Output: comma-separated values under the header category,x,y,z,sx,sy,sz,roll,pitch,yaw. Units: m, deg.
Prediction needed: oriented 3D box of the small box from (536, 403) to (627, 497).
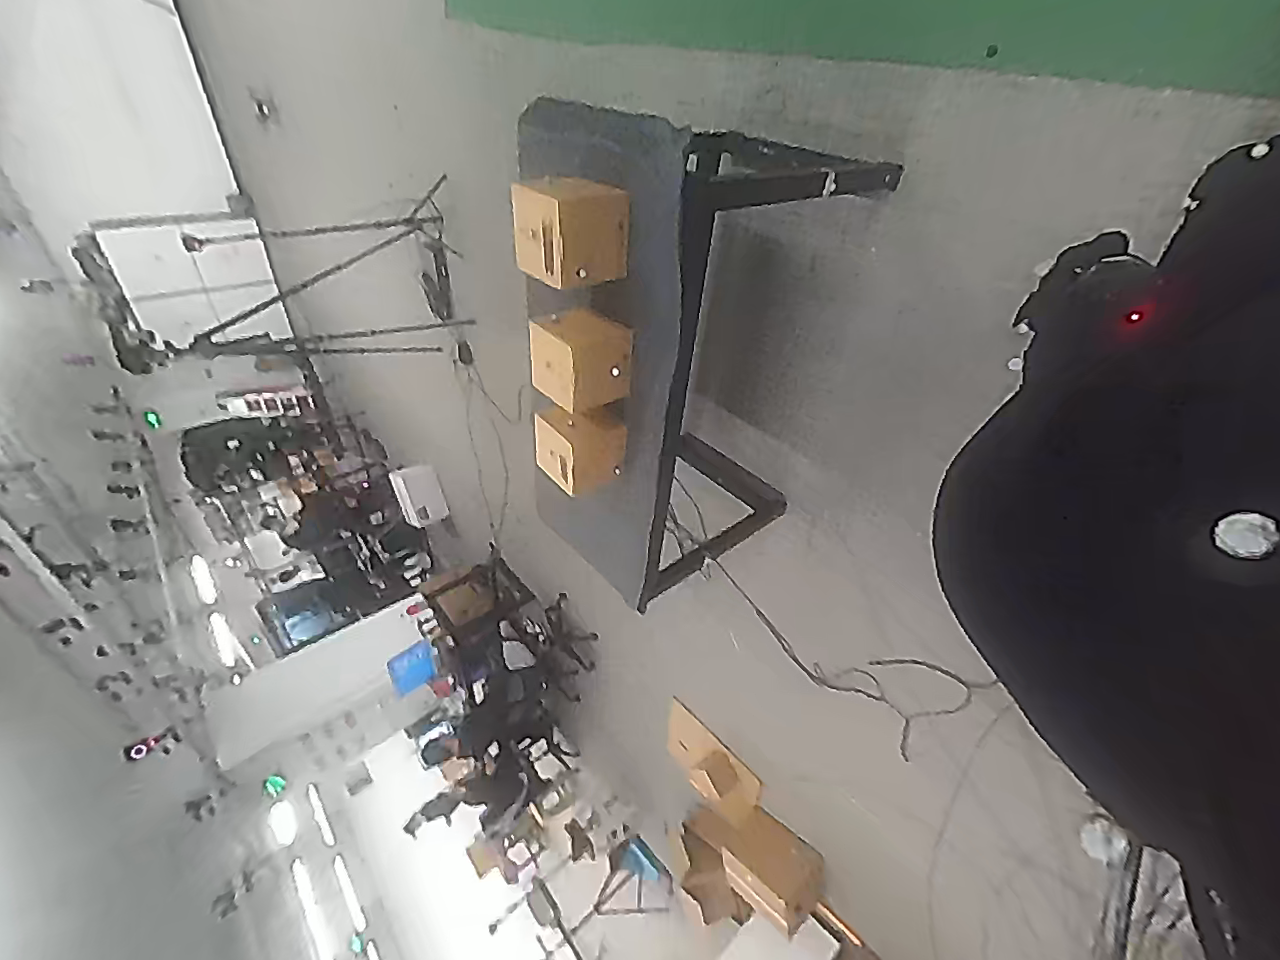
category,x,y,z,sx,sy,sz,roll,pitch,yaw
small box,-0.152,-0.090,1.404,0.179,0.176,0.168,39,138,35

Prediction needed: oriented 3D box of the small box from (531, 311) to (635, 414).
category,x,y,z,sx,sy,sz,roll,pitch,yaw
small box,-0.135,-0.281,1.255,0.179,0.176,0.168,38,138,35
